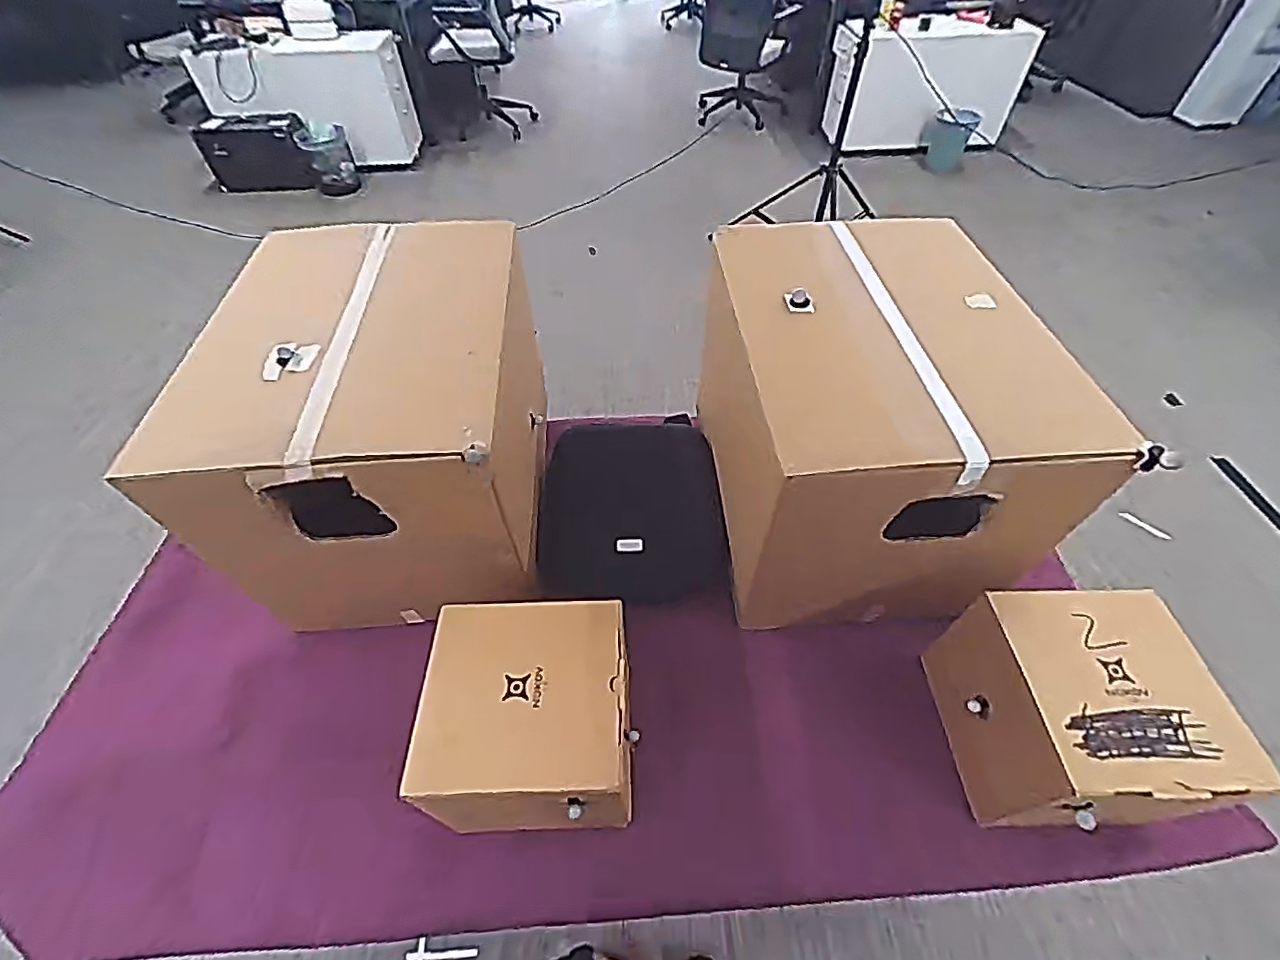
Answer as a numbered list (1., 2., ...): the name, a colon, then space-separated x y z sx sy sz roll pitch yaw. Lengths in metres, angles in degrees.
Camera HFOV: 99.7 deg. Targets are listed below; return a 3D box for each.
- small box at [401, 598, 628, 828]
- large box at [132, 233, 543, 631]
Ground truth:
1. small box: -0.103 0.233 0.536 0.179 0.176 0.168 -2 49 -2
2. large box: -0.296 -0.065 0.694 0.320 0.320 0.408 -5 53 -3
